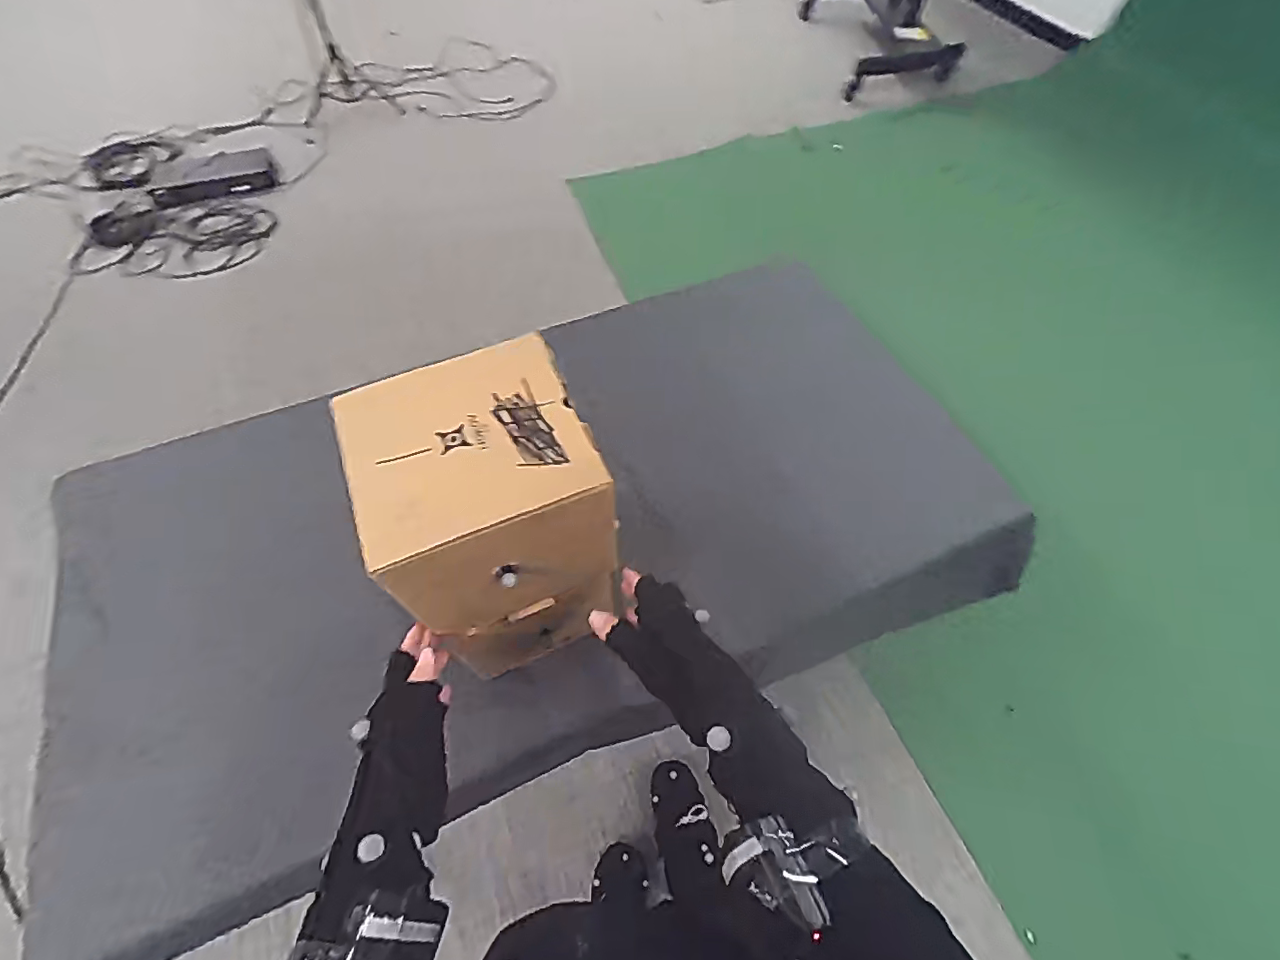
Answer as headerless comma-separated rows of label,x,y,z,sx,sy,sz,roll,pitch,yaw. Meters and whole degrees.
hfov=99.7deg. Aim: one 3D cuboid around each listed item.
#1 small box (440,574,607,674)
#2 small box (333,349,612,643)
small box,-0.144,0.105,0.620,0.168,0.176,0.179,-22,62,-14
small box,-0.134,0.020,0.479,0.179,0.176,0.168,-21,61,-12
